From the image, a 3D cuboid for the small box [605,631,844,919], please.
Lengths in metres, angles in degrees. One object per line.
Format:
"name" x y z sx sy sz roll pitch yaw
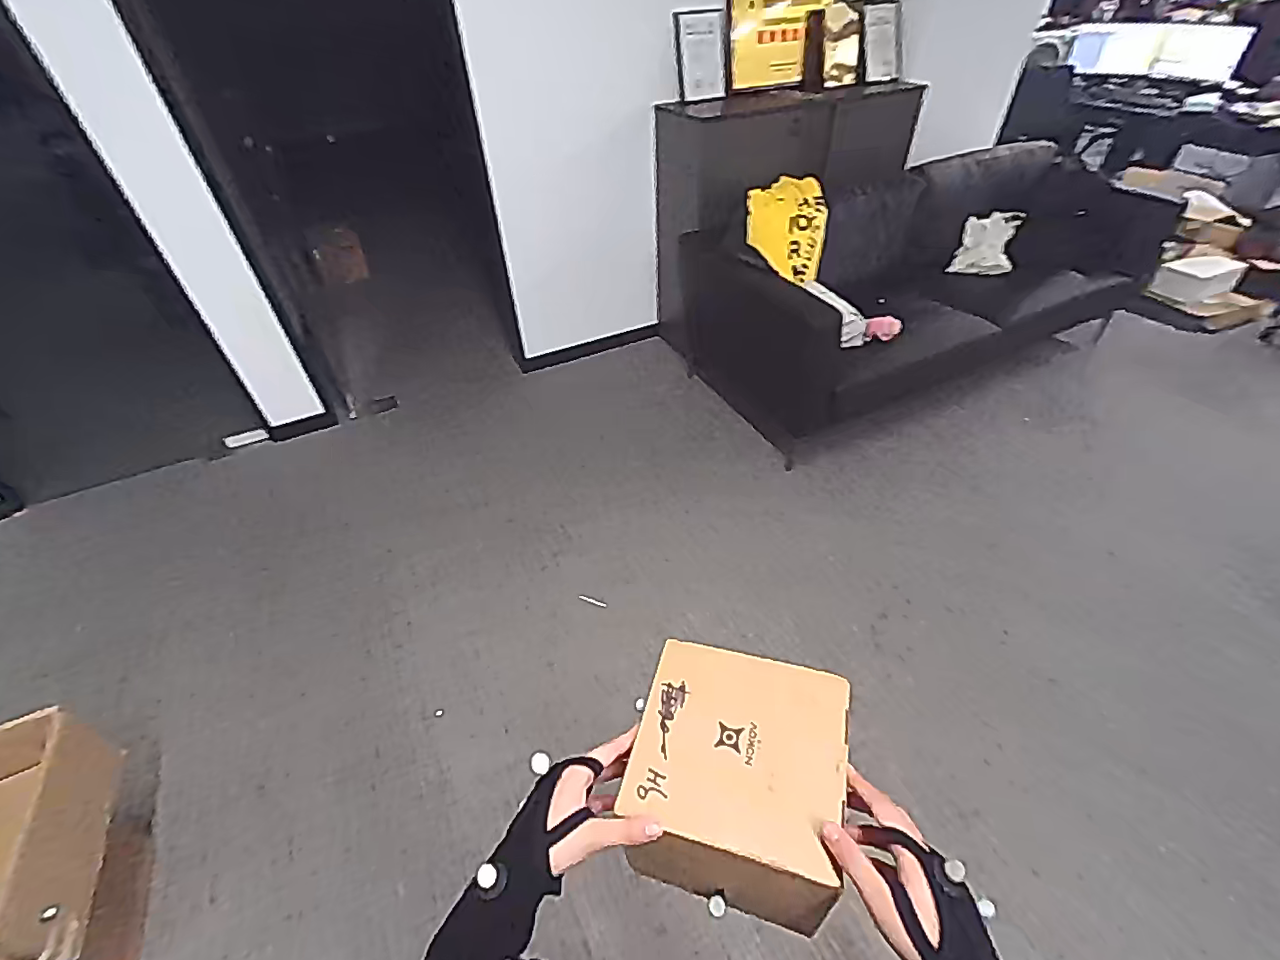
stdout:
"small box" 0.083 0.276 0.510 0.179 0.176 0.168 9 41 16
